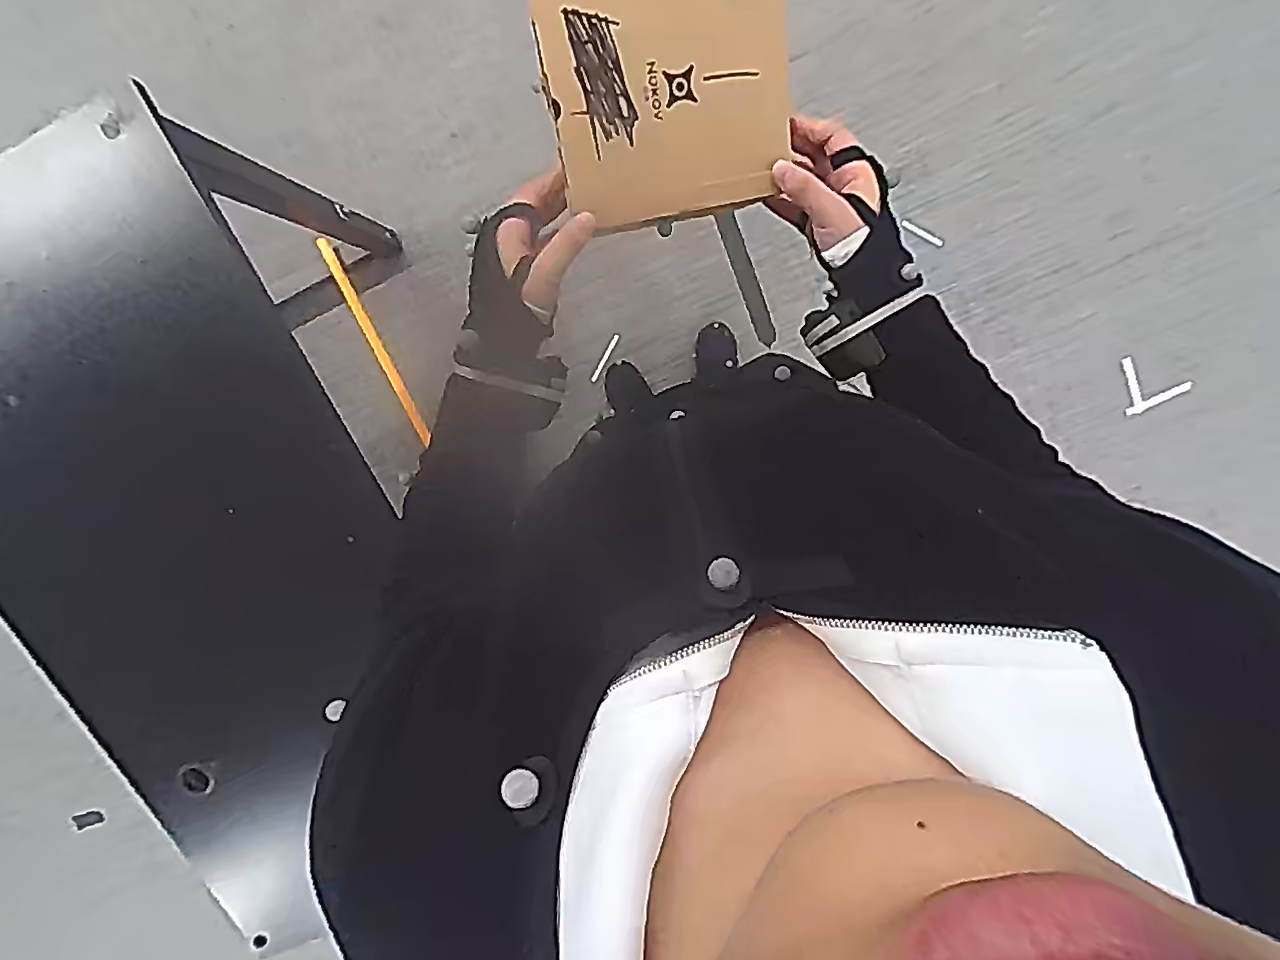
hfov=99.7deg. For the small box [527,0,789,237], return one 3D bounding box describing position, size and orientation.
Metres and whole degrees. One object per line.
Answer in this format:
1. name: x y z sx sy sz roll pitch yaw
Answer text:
1. small box: 0.014 -0.316 0.470 0.179 0.176 0.168 -11 112 -1
